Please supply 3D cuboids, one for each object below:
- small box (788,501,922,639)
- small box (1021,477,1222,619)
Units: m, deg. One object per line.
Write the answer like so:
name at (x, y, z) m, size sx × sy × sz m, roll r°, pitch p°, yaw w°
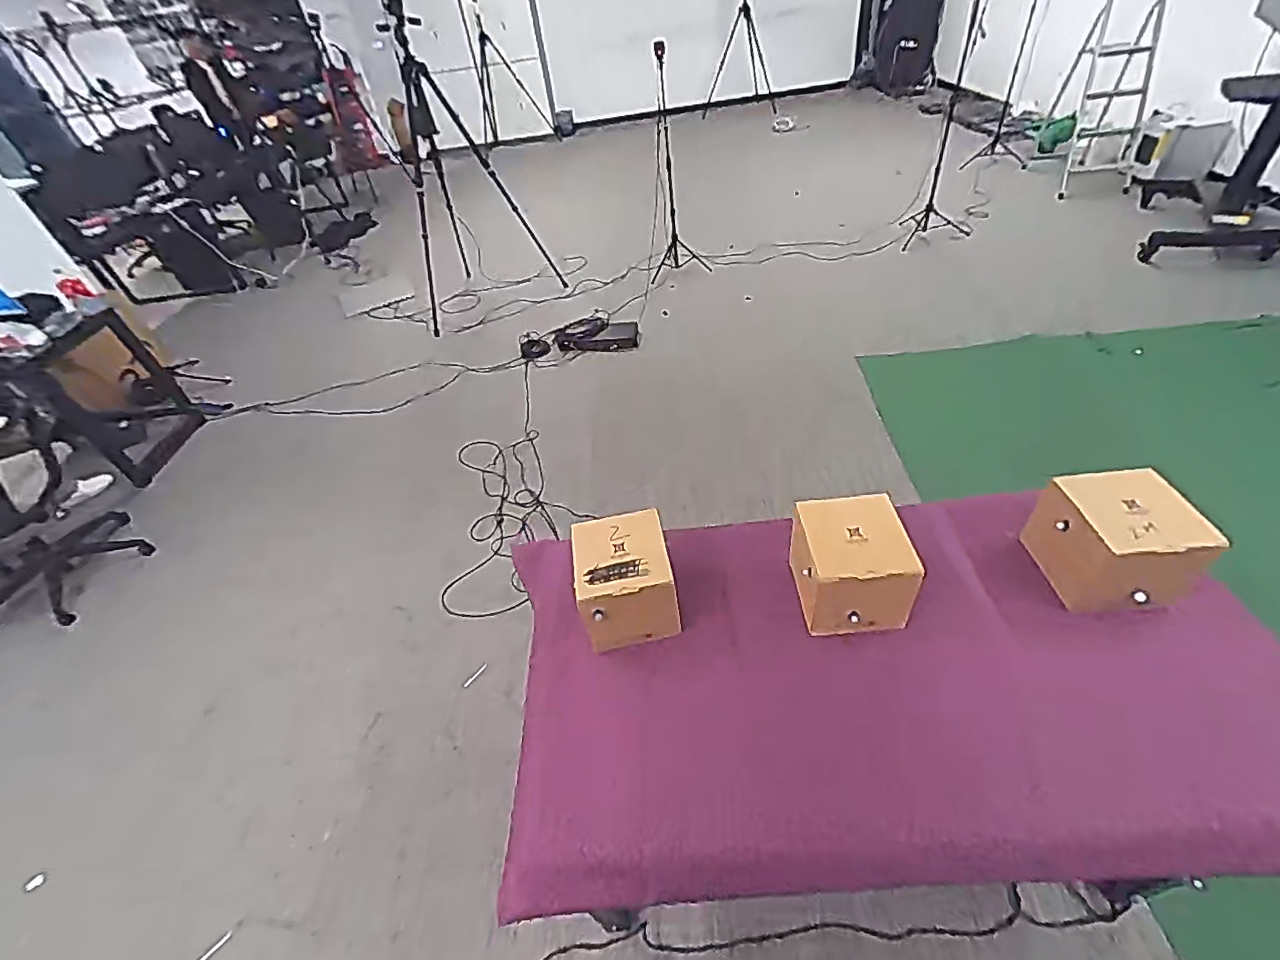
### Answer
small box at (0.369, 0.162, 0.968) m, size 0.168 × 0.176 × 0.179 m, roll -5°, pitch 44°, yaw 3°
small box at (0.806, 0.118, 0.935) m, size 0.168 × 0.176 × 0.179 m, roll -6°, pitch 43°, yaw 5°
